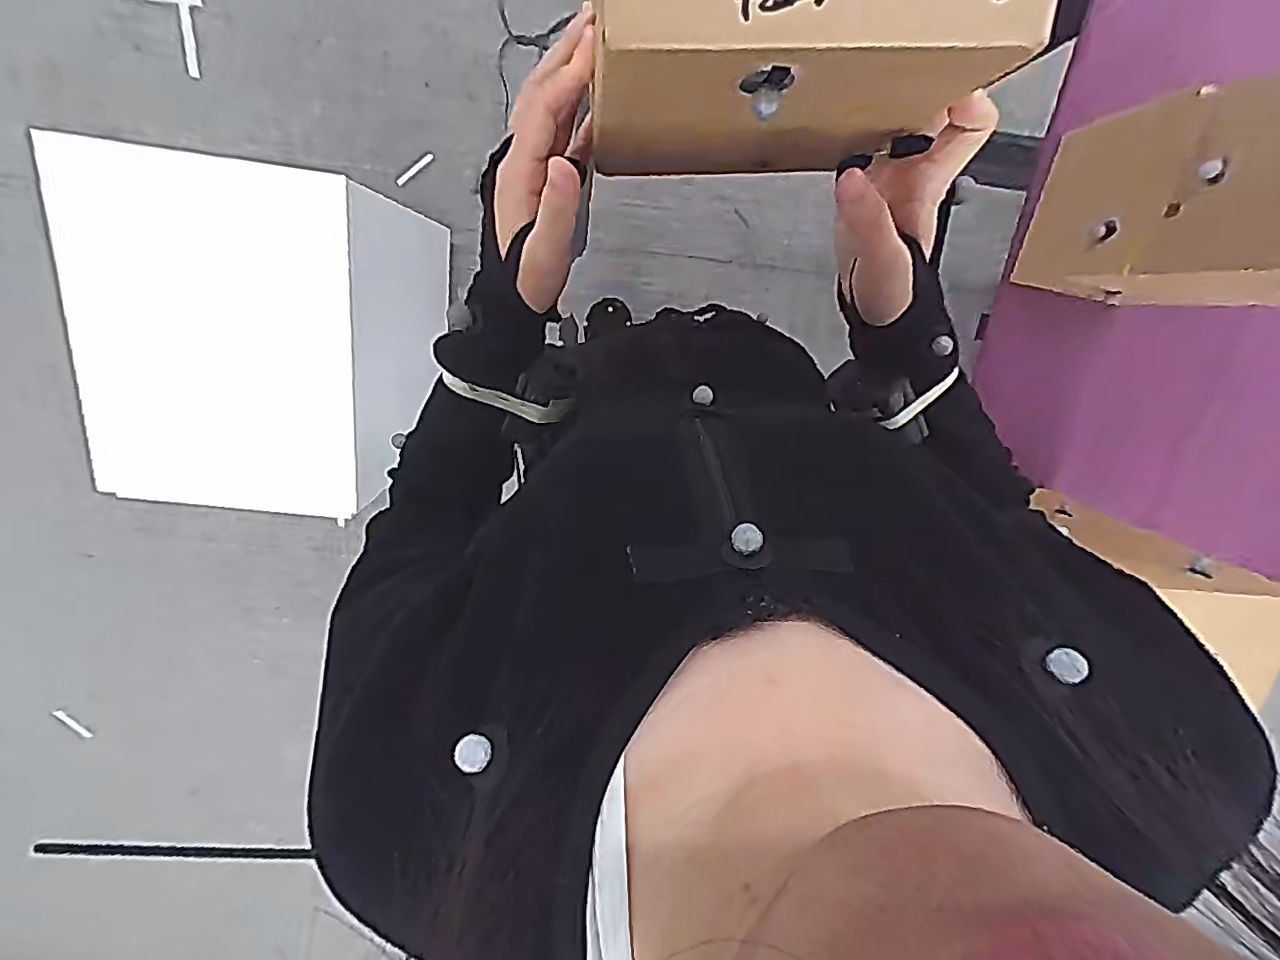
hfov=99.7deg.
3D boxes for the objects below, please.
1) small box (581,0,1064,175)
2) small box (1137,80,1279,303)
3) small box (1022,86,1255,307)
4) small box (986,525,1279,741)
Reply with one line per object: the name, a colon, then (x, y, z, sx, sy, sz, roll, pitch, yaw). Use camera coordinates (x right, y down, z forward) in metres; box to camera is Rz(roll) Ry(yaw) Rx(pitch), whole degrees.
small box: (0.056, -0.257, 0.241, 0.168, 0.176, 0.179, -4, 106, -5)
small box: (0.609, -0.248, 0.466, 0.179, 0.176, 0.168, 8, 107, -6)
small box: (0.589, -0.304, 0.620, 0.168, 0.176, 0.179, 9, 107, -7)
small box: (0.530, 0.157, 0.596, 0.179, 0.176, 0.168, 5, 106, -6)
